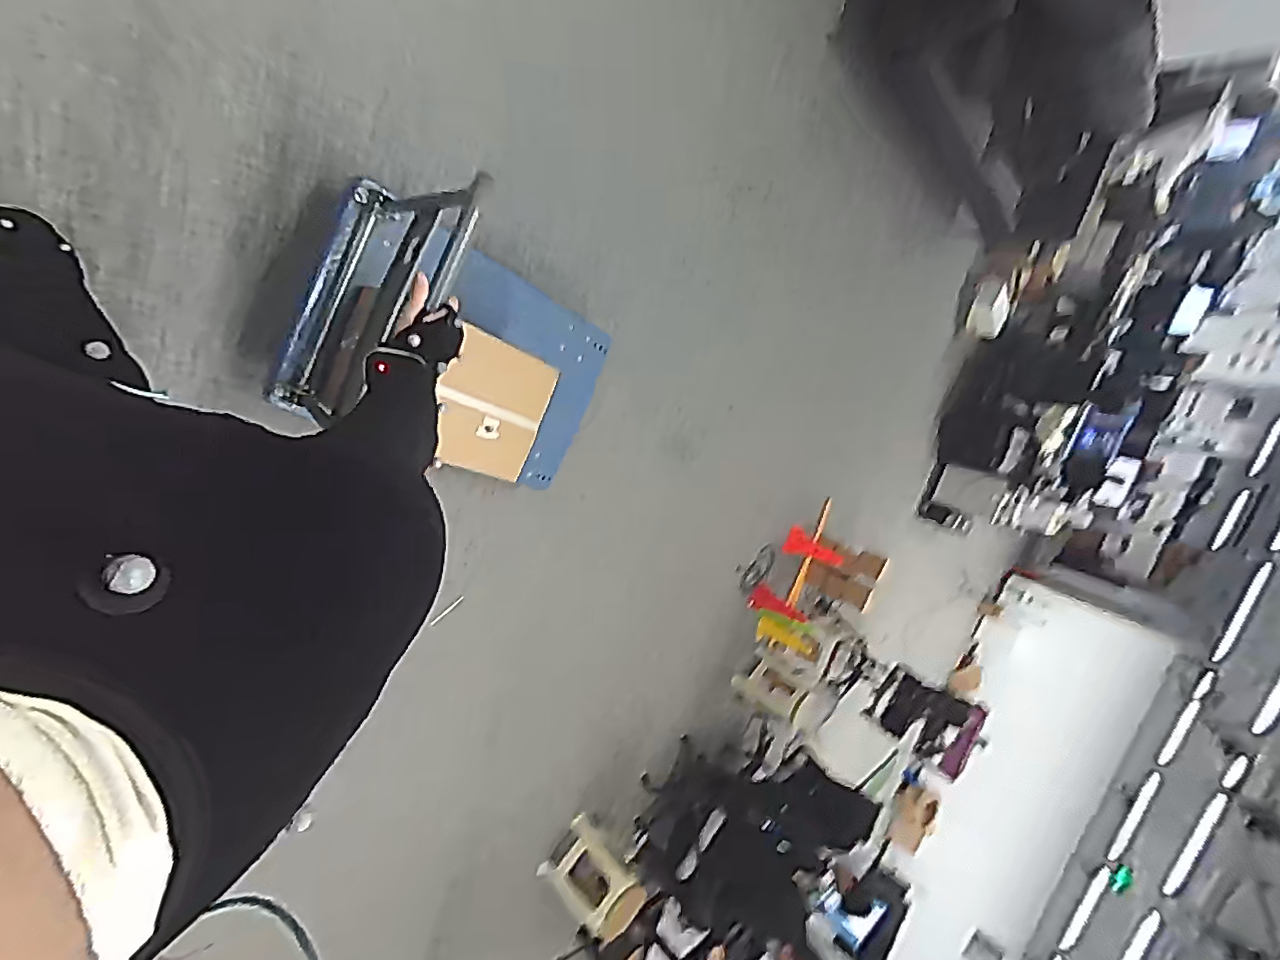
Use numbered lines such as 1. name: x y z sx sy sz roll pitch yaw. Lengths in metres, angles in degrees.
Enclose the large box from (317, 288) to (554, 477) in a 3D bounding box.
1. large box: -0.502 -0.234 1.343 0.408 0.320 0.320 21 94 -49
